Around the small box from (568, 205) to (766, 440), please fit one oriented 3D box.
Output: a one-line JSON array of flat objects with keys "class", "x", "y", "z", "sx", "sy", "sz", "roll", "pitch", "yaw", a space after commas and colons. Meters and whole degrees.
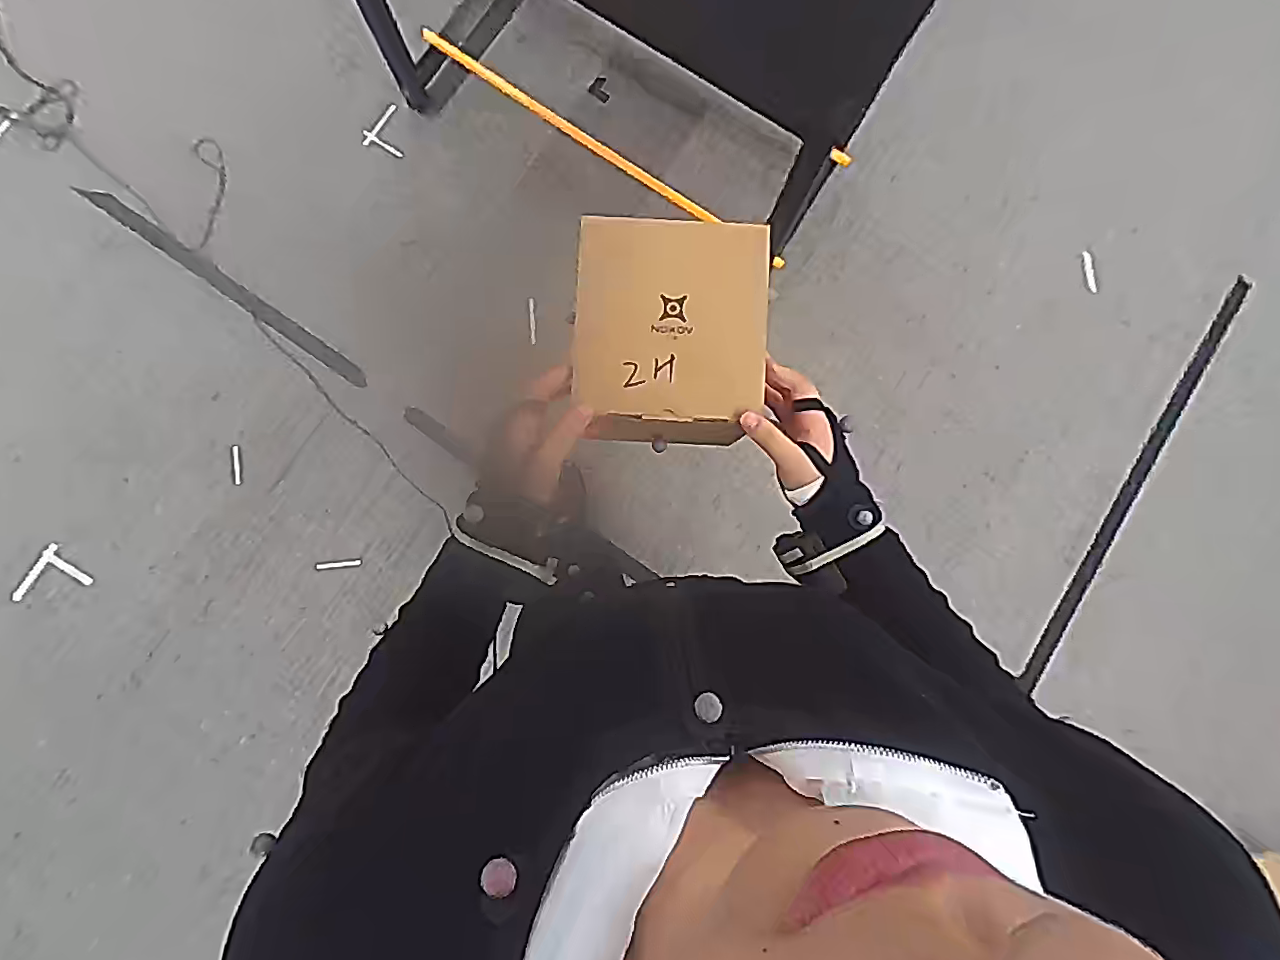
[{"class": "small box", "x": 0.023, "y": -0.143, "z": 0.542, "sx": 0.168, "sy": 0.176, "sz": 0.179, "roll": 3, "pitch": 86, "yaw": 0}]
